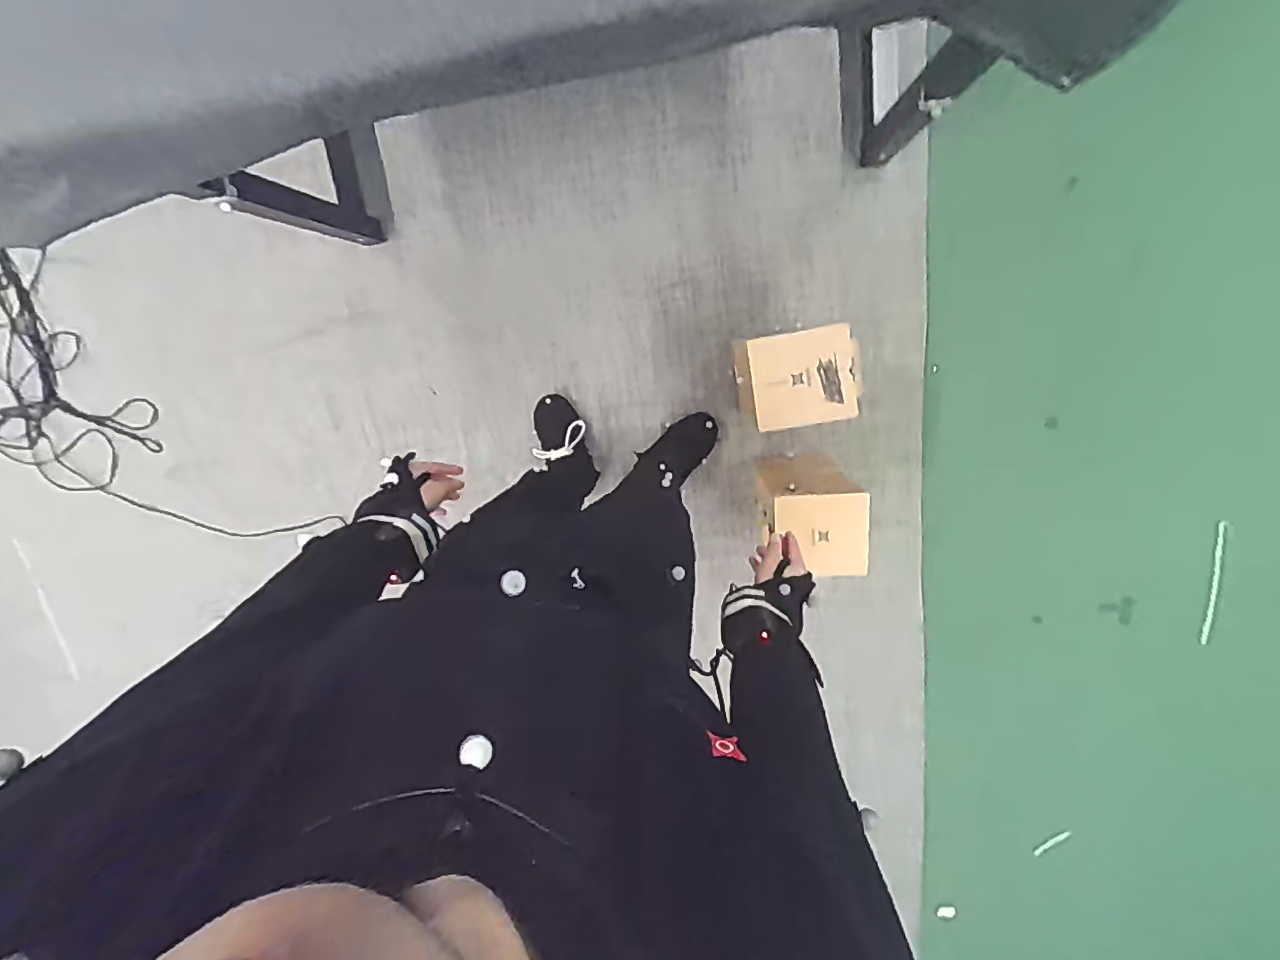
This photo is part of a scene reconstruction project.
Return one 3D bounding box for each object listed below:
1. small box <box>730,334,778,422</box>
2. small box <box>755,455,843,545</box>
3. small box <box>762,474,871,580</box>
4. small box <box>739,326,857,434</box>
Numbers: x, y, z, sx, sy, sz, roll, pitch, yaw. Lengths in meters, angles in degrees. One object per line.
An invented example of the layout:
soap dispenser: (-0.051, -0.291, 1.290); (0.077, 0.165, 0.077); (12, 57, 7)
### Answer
small box: (0.297, -0.229, 1.172); (0.179, 0.176, 0.168); (-9, 103, 9)
small box: (0.357, 0.043, 1.237); (0.179, 0.176, 0.168); (-4, 105, 8)
small box: (0.344, 0.087, 1.080); (0.179, 0.176, 0.168); (-3, 105, 6)
small box: (0.288, -0.191, 1.012); (0.179, 0.176, 0.168); (-9, 103, 8)
